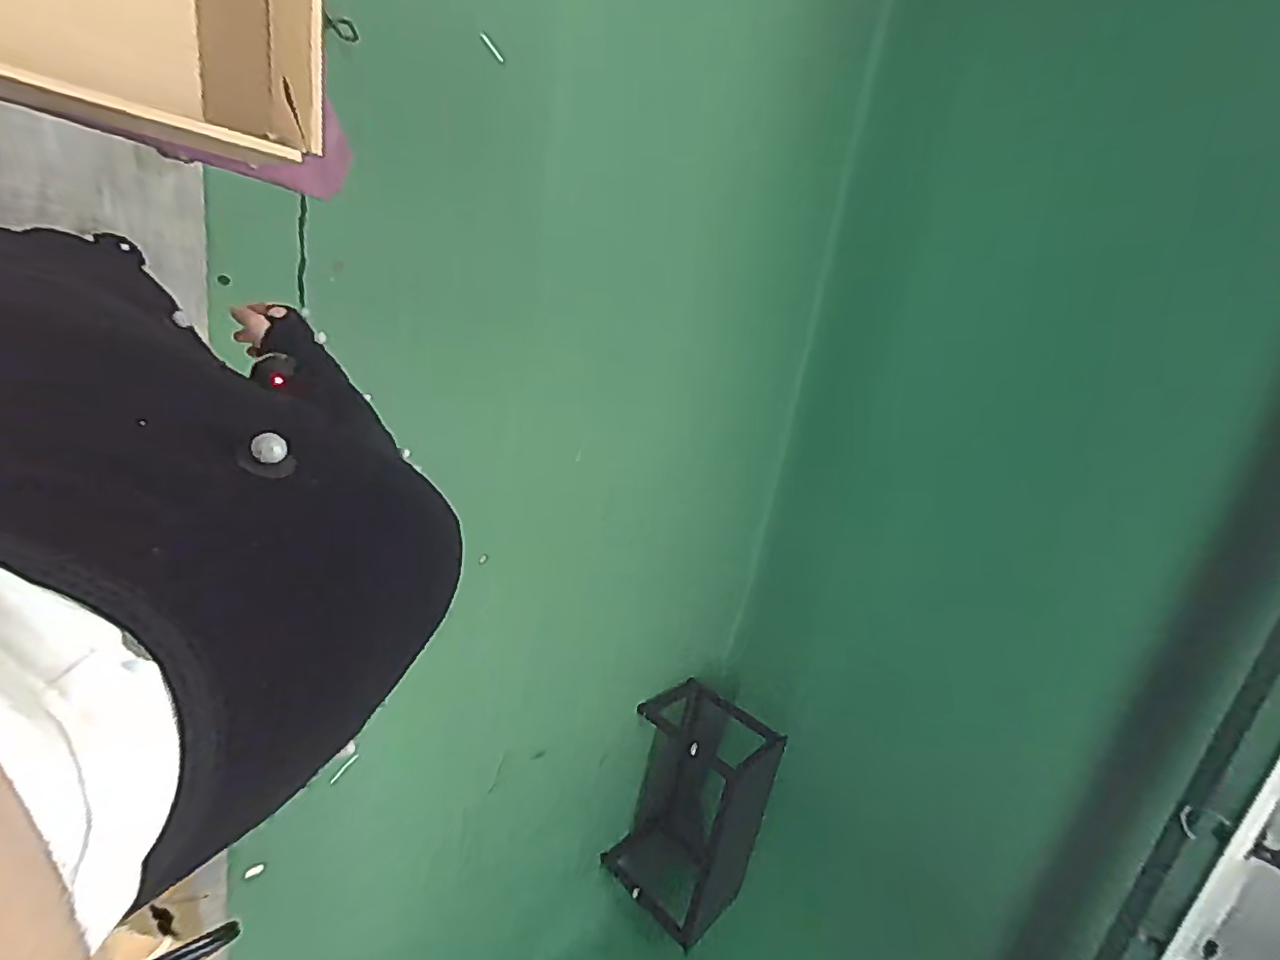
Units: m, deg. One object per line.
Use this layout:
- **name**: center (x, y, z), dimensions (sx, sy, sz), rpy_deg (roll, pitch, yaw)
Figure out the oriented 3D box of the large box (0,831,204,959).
- **large box**: center (-1.435, 1.204, 1.350), dimensions (0.408, 0.320, 0.320), rpy_deg (-44, 137, -29)
